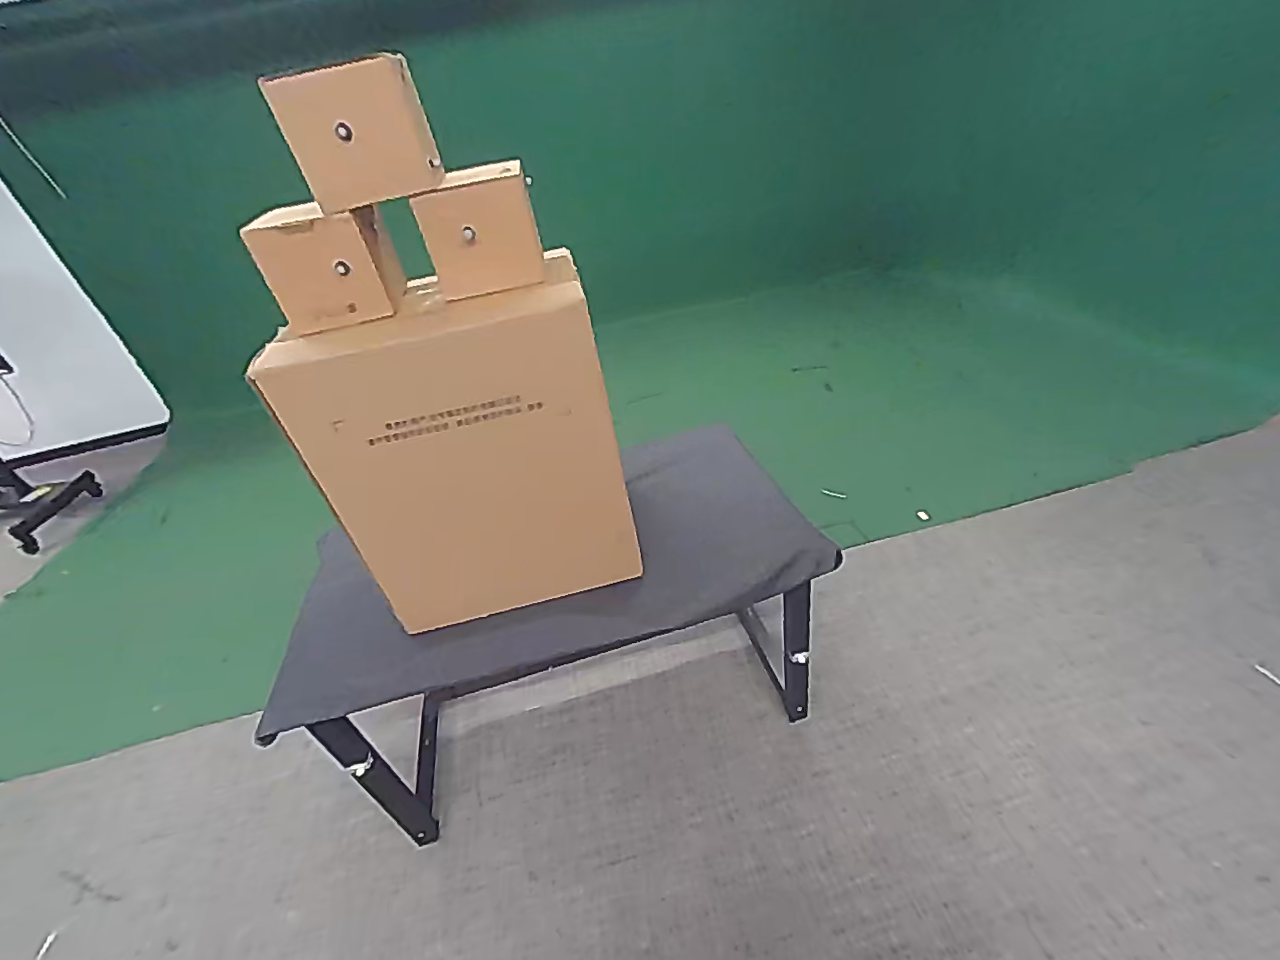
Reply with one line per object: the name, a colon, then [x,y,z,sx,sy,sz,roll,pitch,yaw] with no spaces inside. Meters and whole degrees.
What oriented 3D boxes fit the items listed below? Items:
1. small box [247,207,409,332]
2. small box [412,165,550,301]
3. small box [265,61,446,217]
small box: [-0.514,-0.365,0.926,0.168,0.176,0.179,-13,36,-5]
small box: [-0.266,-0.428,0.941,0.179,0.176,0.168,-14,38,-2]
small box: [-0.417,-0.524,0.833,0.179,0.176,0.168,-16,38,-3]
